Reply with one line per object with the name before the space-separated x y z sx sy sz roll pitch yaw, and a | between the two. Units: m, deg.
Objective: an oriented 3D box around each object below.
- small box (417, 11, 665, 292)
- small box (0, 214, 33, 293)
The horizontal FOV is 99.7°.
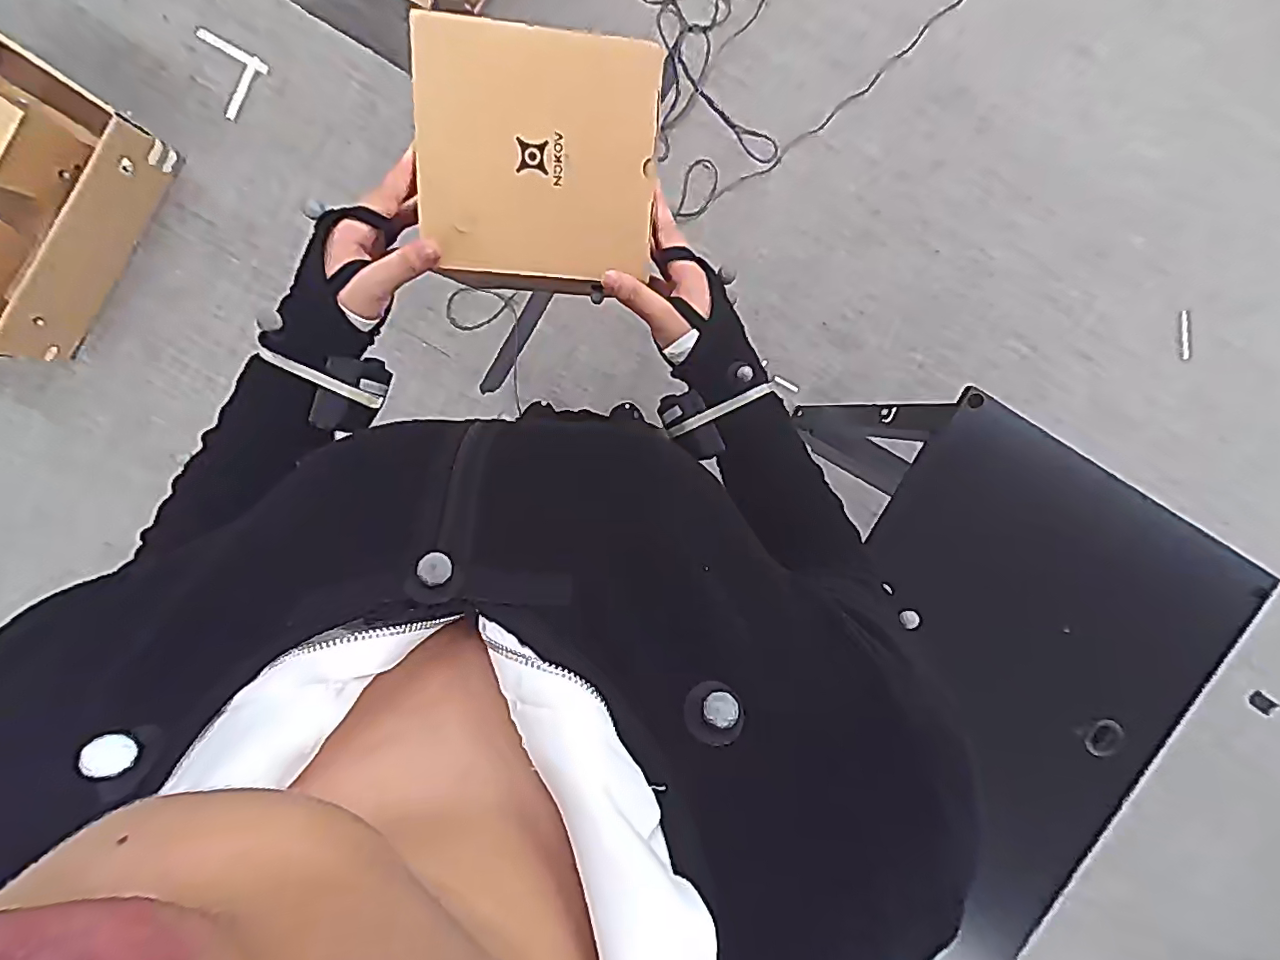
small box | -0.082 -0.262 0.478 0.179 0.176 0.168 2 105 -8
small box | -1.545 -0.541 1.204 0.168 0.176 0.179 34 92 -9
